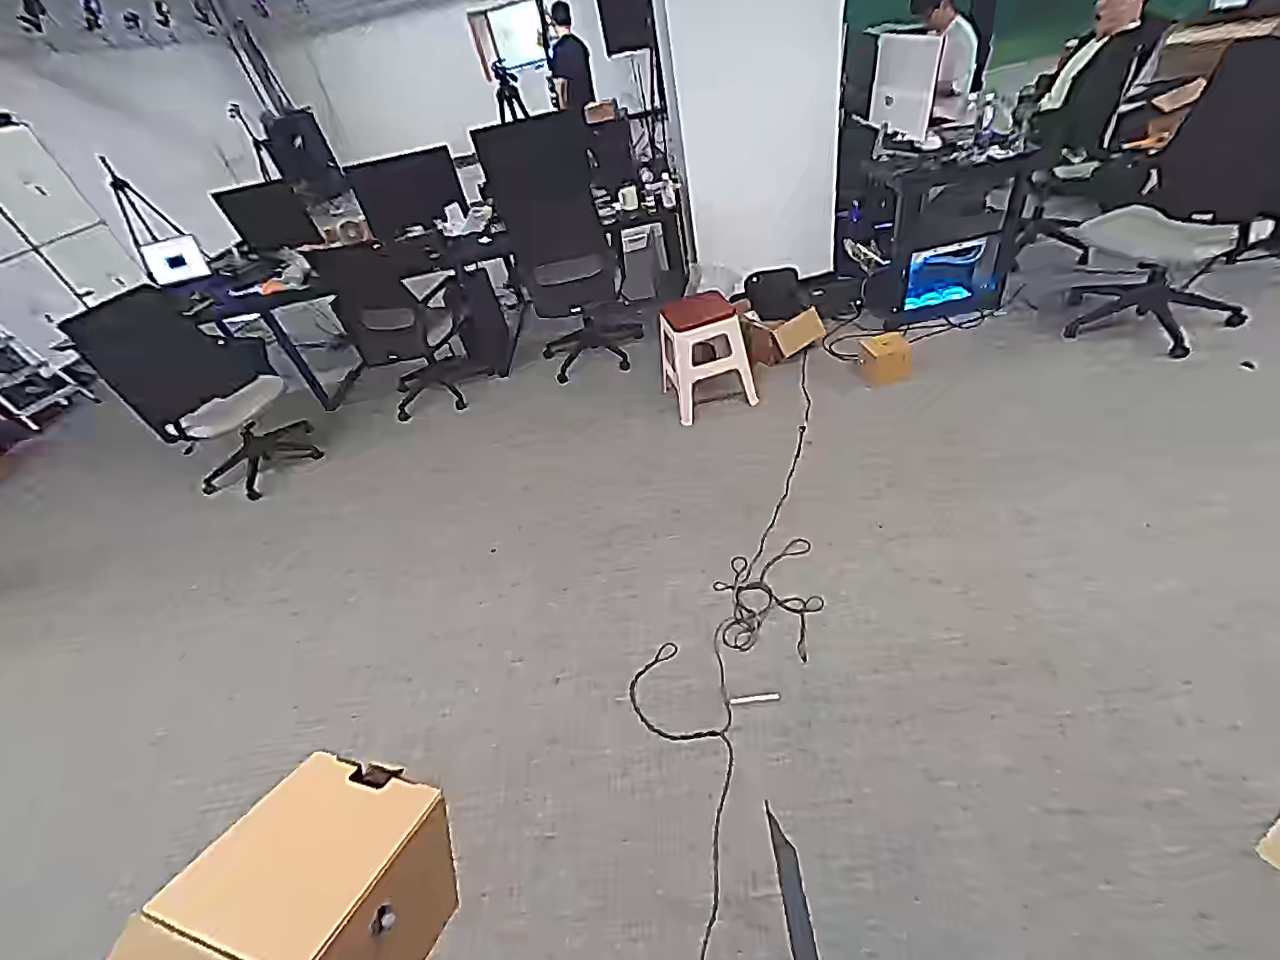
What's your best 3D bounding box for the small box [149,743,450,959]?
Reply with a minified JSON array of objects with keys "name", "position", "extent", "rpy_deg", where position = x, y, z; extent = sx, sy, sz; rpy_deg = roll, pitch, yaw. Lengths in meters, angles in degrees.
[{"name":"small box","position":[-0.303,0.403,0.522],"extent":[0.168,0.176,0.179],"rpy_deg":[8,20,17]}]
